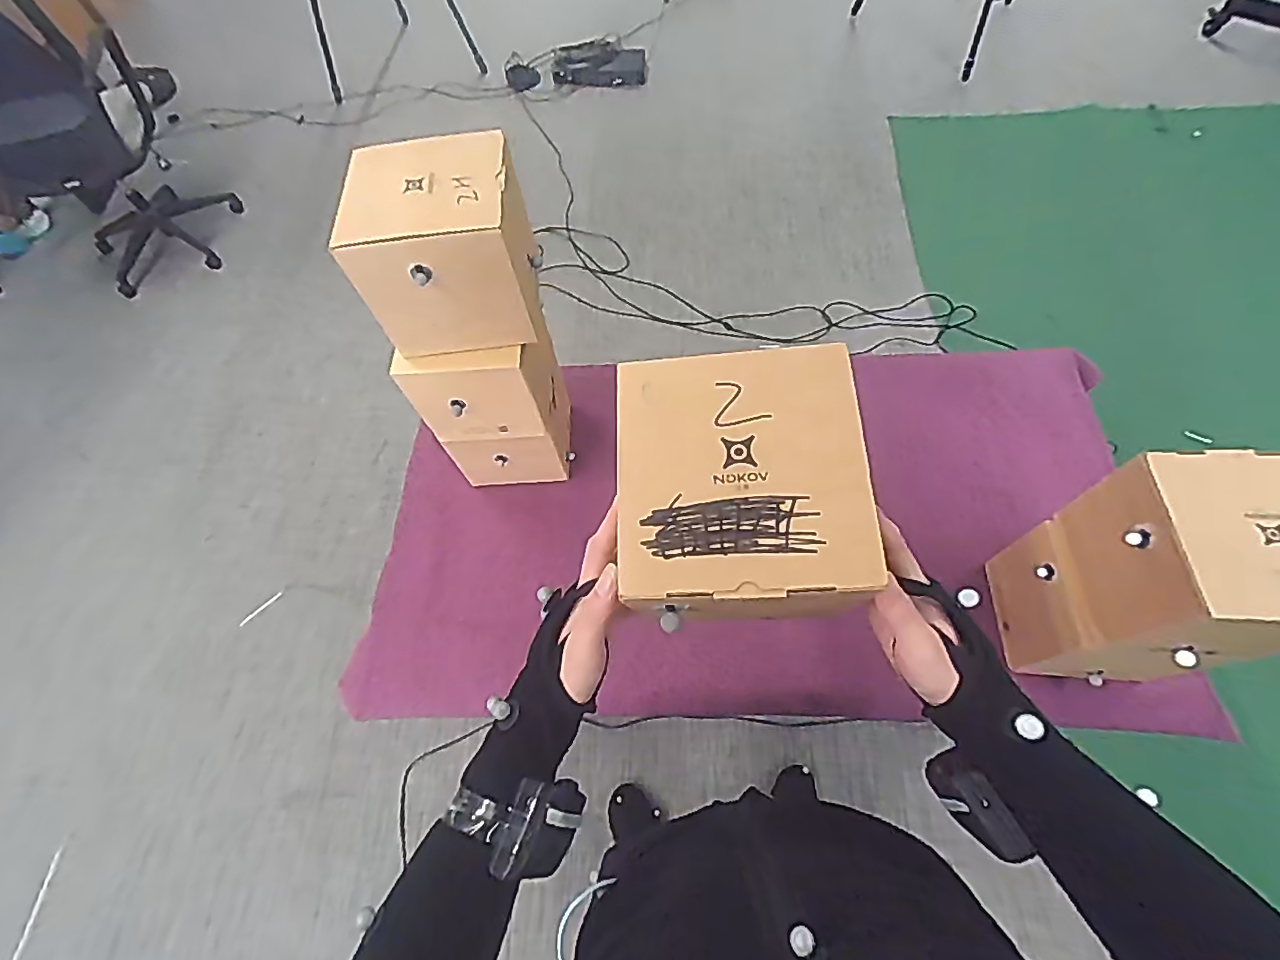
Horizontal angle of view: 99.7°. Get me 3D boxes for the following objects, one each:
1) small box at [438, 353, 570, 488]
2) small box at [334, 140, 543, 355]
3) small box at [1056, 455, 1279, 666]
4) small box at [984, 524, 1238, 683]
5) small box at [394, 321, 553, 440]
[{"bbox_3d":[-0.219,-0.098,0.925,0.179,0.176,0.168,-4,62,2],"label":"small box"},{"bbox_3d":[-0.222,-0.267,0.646,0.179,0.176,0.168,-6,62,1],"label":"small box"},{"bbox_3d":[0.597,0.091,0.584,0.168,0.176,0.179,2,62,7],"label":"small box"},{"bbox_3d":[0.606,0.172,0.726,0.179,0.176,0.168,3,61,6],"label":"small box"},{"bbox_3d":[-0.224,-0.168,0.780,0.168,0.176,0.179,-3,62,2],"label":"small box"}]
